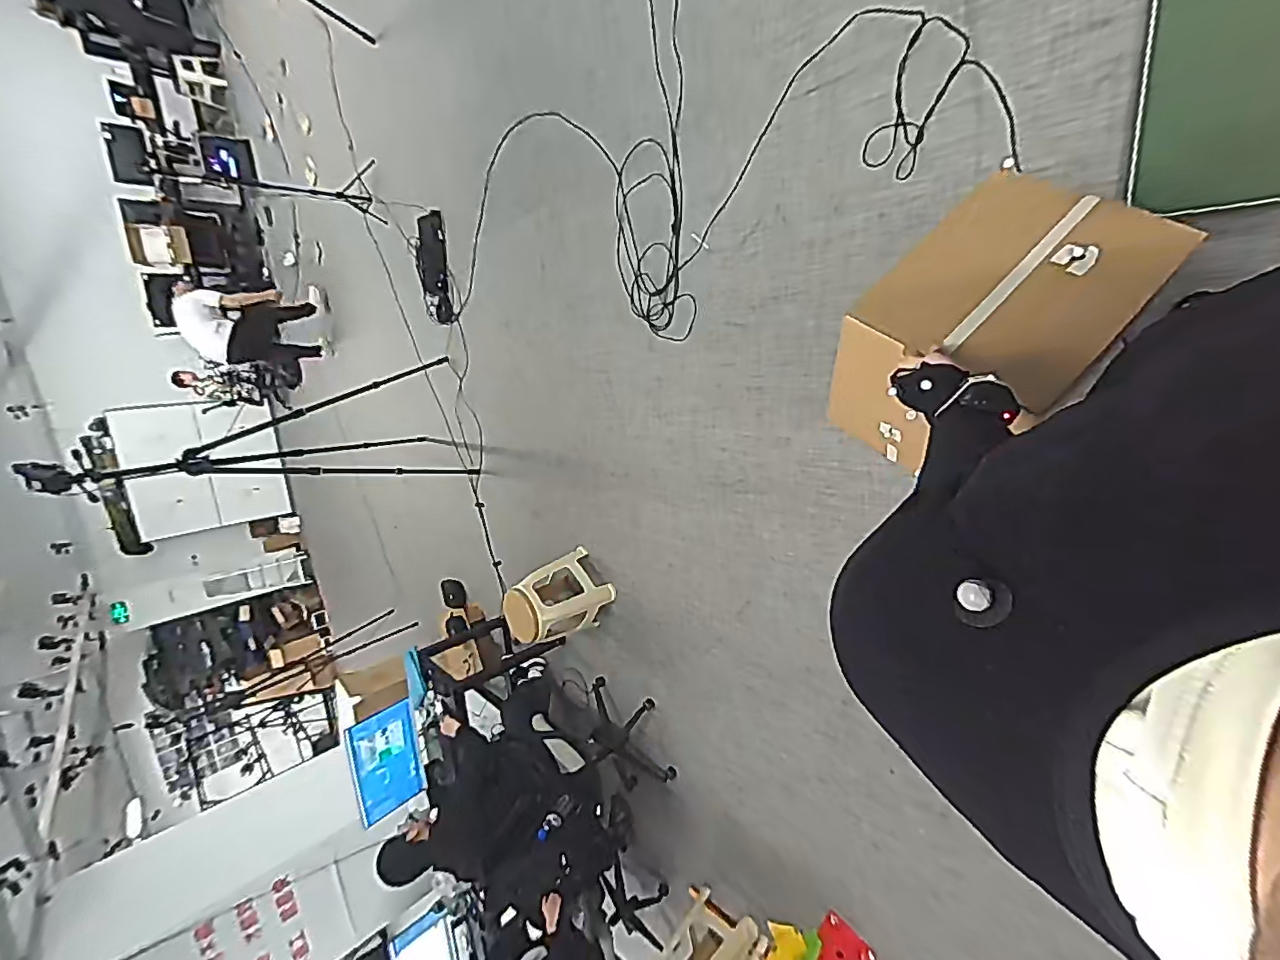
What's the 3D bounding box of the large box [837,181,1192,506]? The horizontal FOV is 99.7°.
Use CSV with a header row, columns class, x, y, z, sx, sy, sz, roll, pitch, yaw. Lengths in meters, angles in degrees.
class,x,y,z,sx,sy,sz,roll,pitch,yaw
large box,0.611,-0.232,0.961,0.320,0.408,0.320,42,168,28
